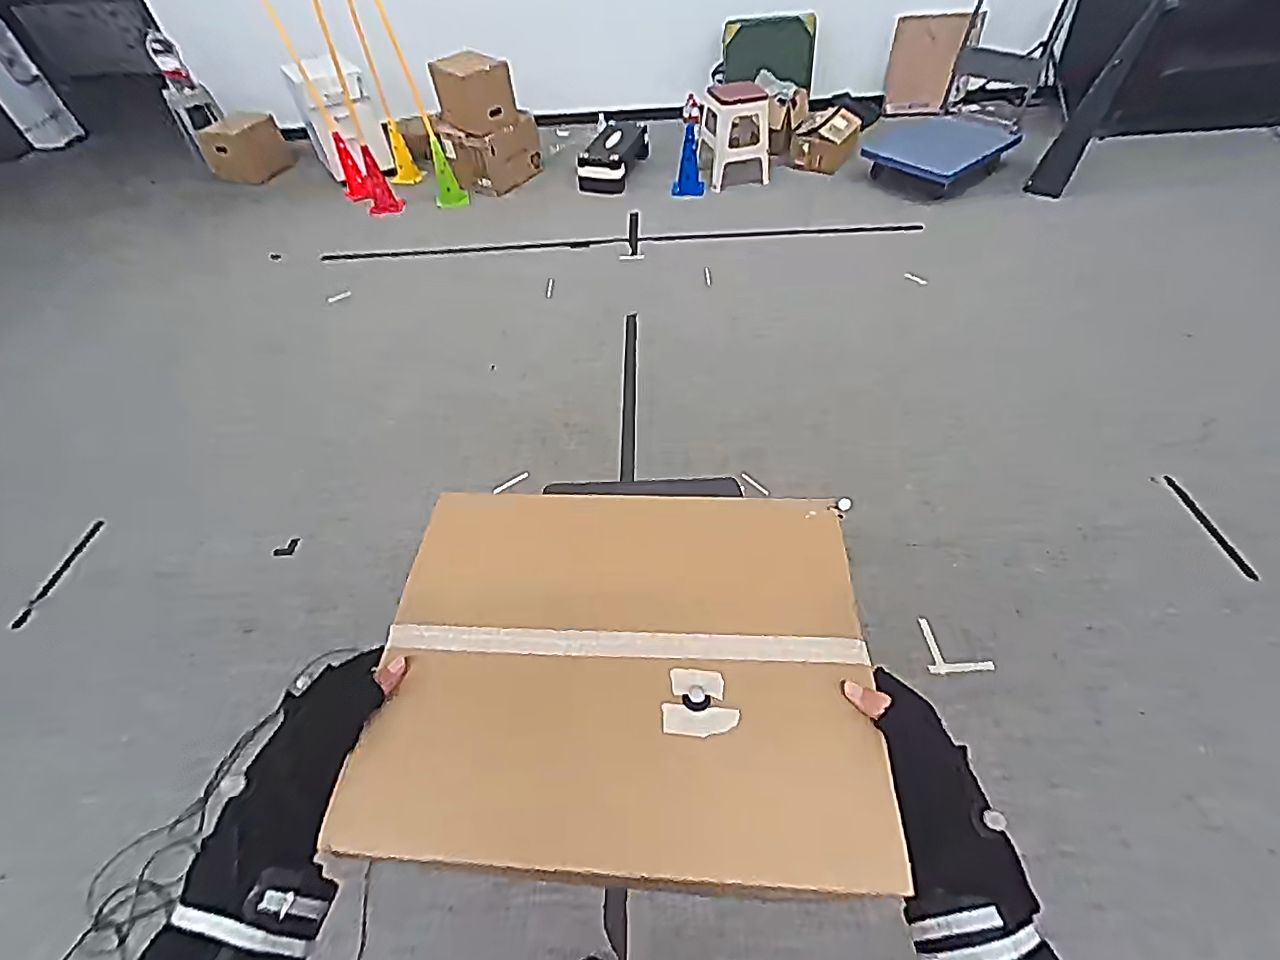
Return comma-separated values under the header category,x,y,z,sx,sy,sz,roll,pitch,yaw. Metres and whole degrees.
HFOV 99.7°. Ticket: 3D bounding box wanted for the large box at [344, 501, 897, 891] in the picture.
category,x,y,z,sx,sy,sz,roll,pitch,yaw
large box,-0.006,0.237,0.587,0.408,0.320,0.320,1,52,5
